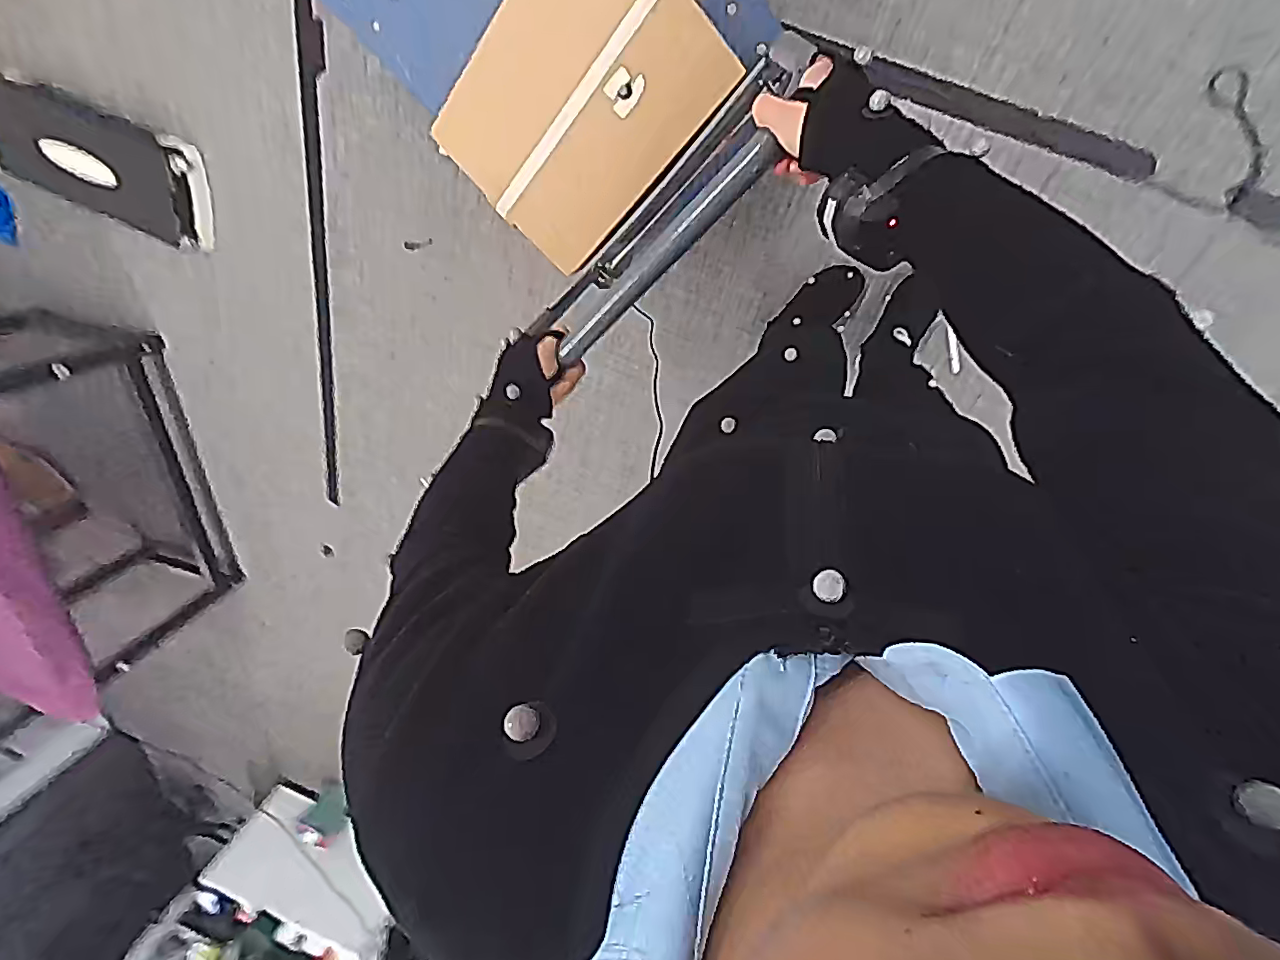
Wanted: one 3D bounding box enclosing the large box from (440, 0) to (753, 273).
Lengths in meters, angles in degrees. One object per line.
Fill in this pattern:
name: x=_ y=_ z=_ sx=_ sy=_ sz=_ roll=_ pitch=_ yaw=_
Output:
large box: x=-0.059 y=-0.643 z=0.940 sx=0.320 sy=0.320 sz=0.408 roll=44 pitch=121 yaw=-14
